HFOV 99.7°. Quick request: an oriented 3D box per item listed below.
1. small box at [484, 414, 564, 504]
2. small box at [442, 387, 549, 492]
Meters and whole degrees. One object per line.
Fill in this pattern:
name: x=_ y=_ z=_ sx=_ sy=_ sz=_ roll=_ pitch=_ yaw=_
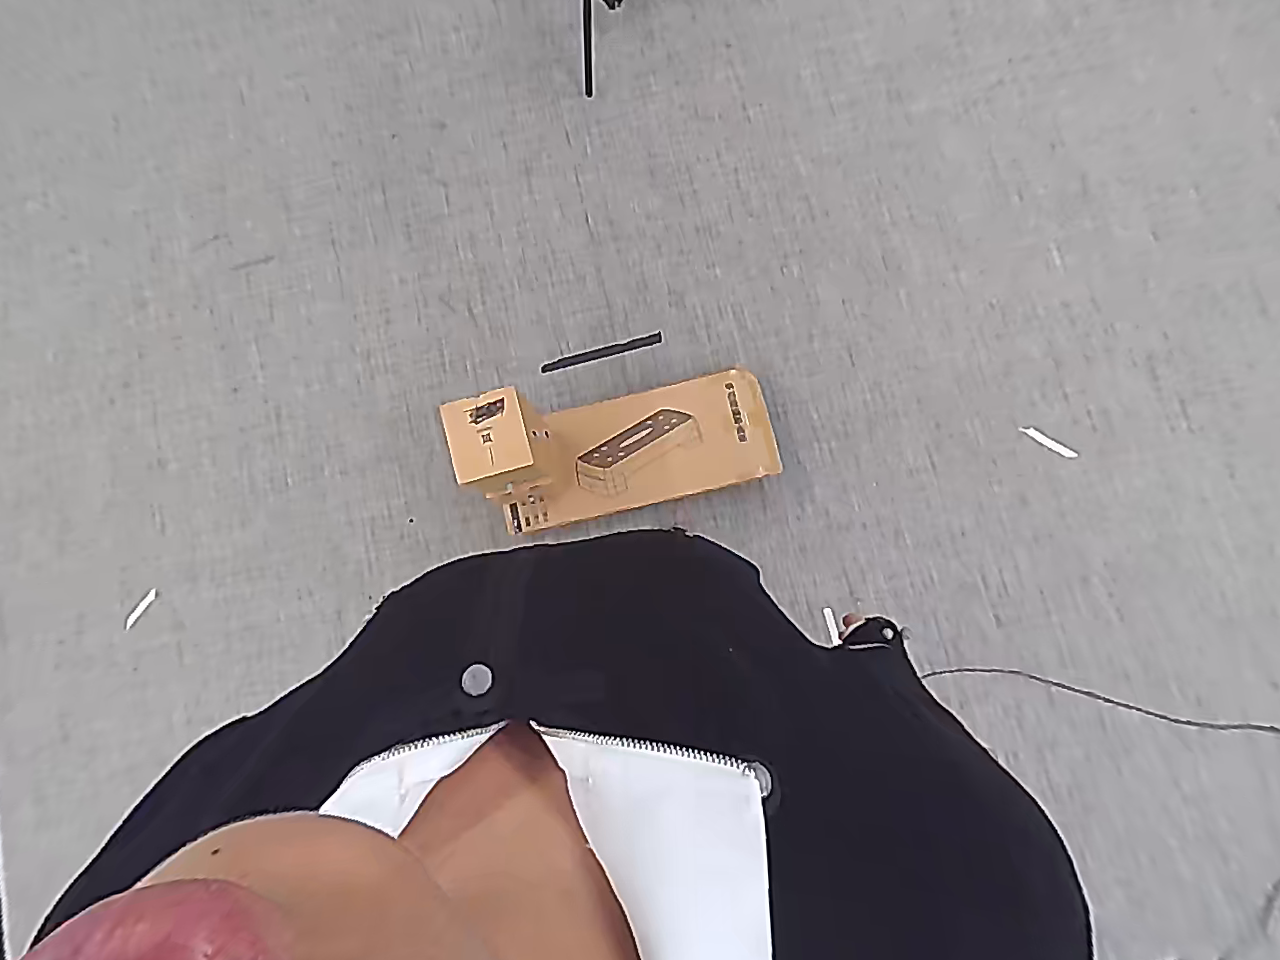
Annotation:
small box: x=-0.298 y=-0.047 z=1.358 sx=0.168 sy=0.176 sz=0.179 roll=-14 pitch=82 yaw=2
small box: x=-0.312 y=-0.083 z=1.198 sx=0.168 sy=0.176 sz=0.179 roll=-15 pitch=83 yaw=1
